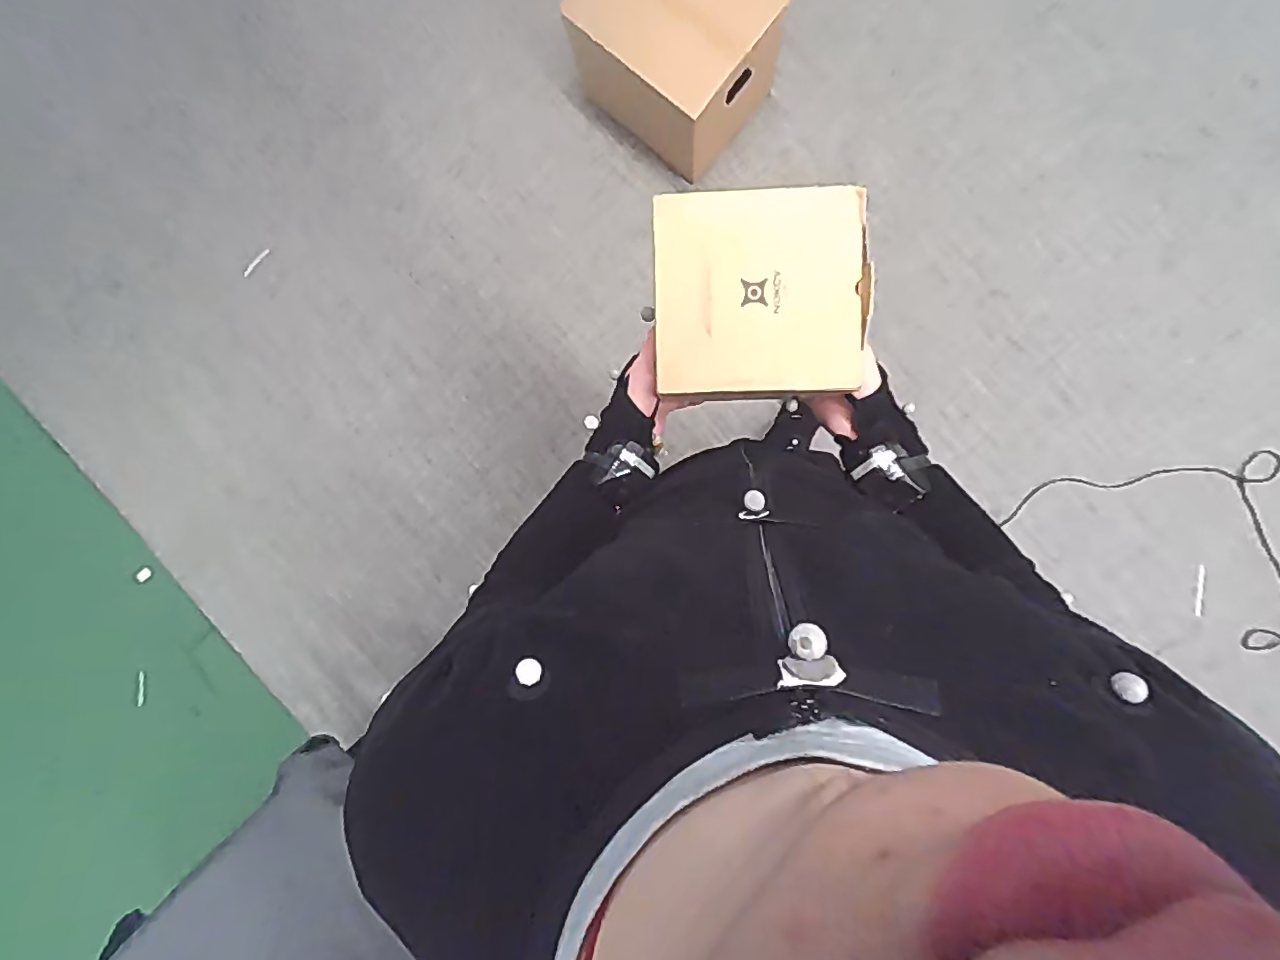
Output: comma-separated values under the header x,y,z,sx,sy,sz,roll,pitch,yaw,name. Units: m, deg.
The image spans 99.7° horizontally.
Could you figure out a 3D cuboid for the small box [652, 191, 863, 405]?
x,y,z,sx,sy,sz,roll,pitch,yaw,name
0.102,-0.162,0.533,0.179,0.176,0.168,-1,95,4,small box
